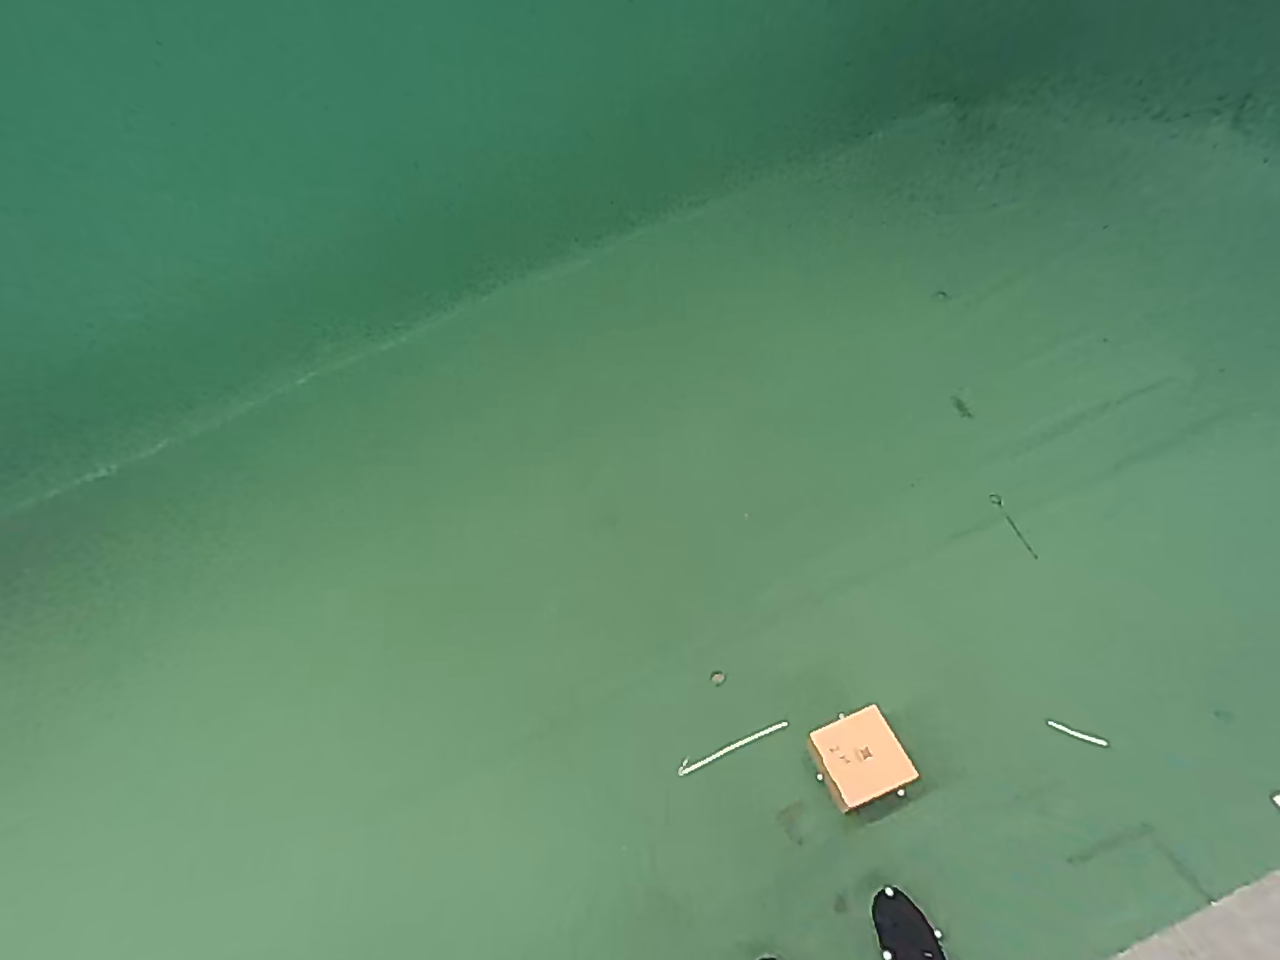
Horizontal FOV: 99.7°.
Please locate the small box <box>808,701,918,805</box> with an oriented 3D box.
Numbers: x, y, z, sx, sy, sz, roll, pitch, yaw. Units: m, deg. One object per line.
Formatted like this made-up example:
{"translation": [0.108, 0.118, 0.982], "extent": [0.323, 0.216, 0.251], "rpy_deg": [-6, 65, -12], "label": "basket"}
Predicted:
{"translation": [0.521, 0.656, 1.294], "extent": [0.179, 0.176, 0.168], "rpy_deg": [-22, 53, -3], "label": "small box"}
